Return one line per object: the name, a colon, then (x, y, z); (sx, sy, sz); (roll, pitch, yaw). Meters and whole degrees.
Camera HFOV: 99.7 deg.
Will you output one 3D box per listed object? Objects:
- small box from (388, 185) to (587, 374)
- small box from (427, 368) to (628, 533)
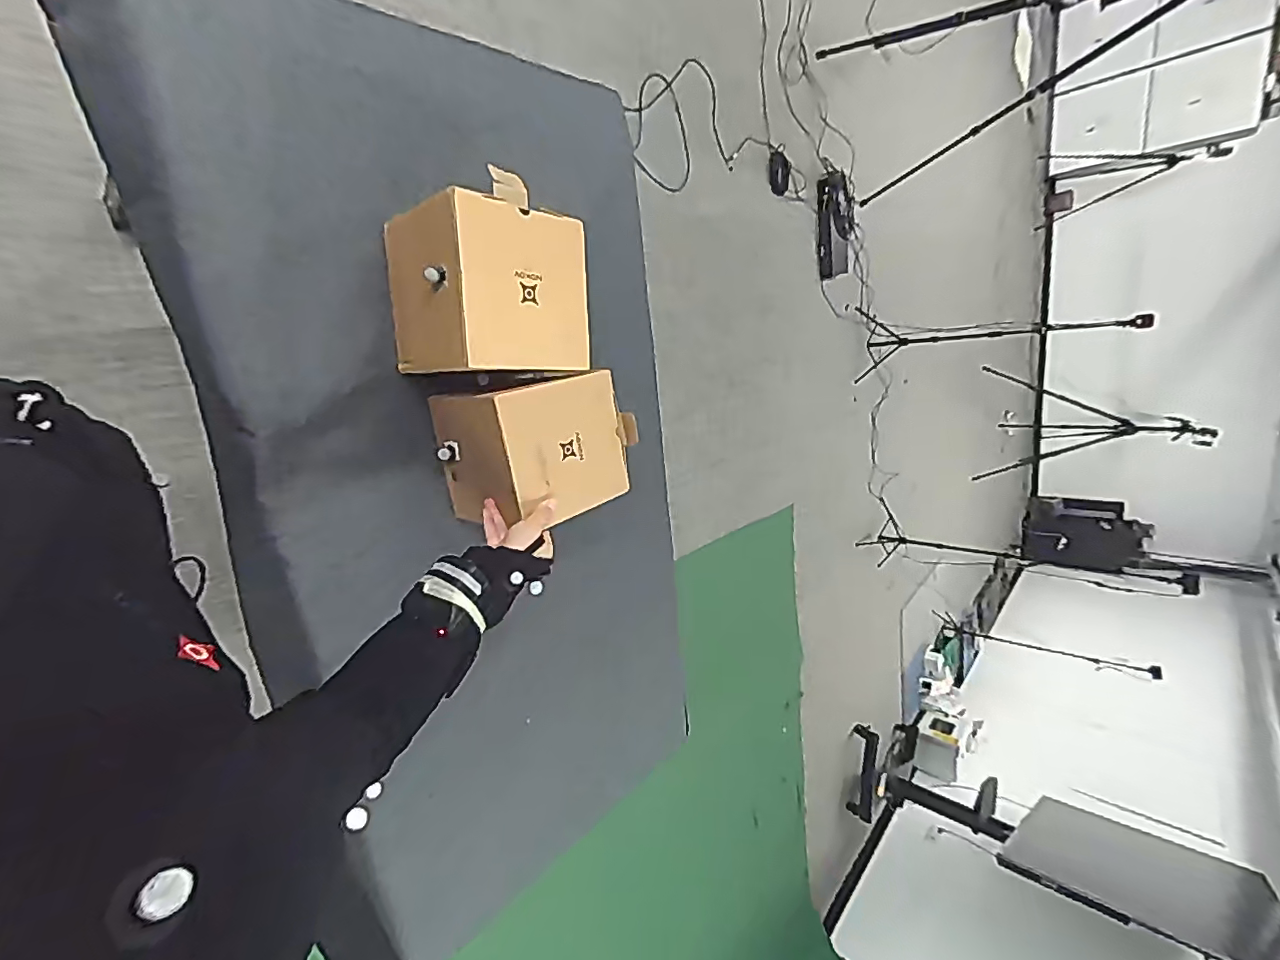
small box: (-0.182, -0.219, 0.649); (0.168, 0.176, 0.179); (-12, 103, -46)
small box: (-0.145, -0.048, 0.710); (0.179, 0.176, 0.168); (-26, 113, -42)
